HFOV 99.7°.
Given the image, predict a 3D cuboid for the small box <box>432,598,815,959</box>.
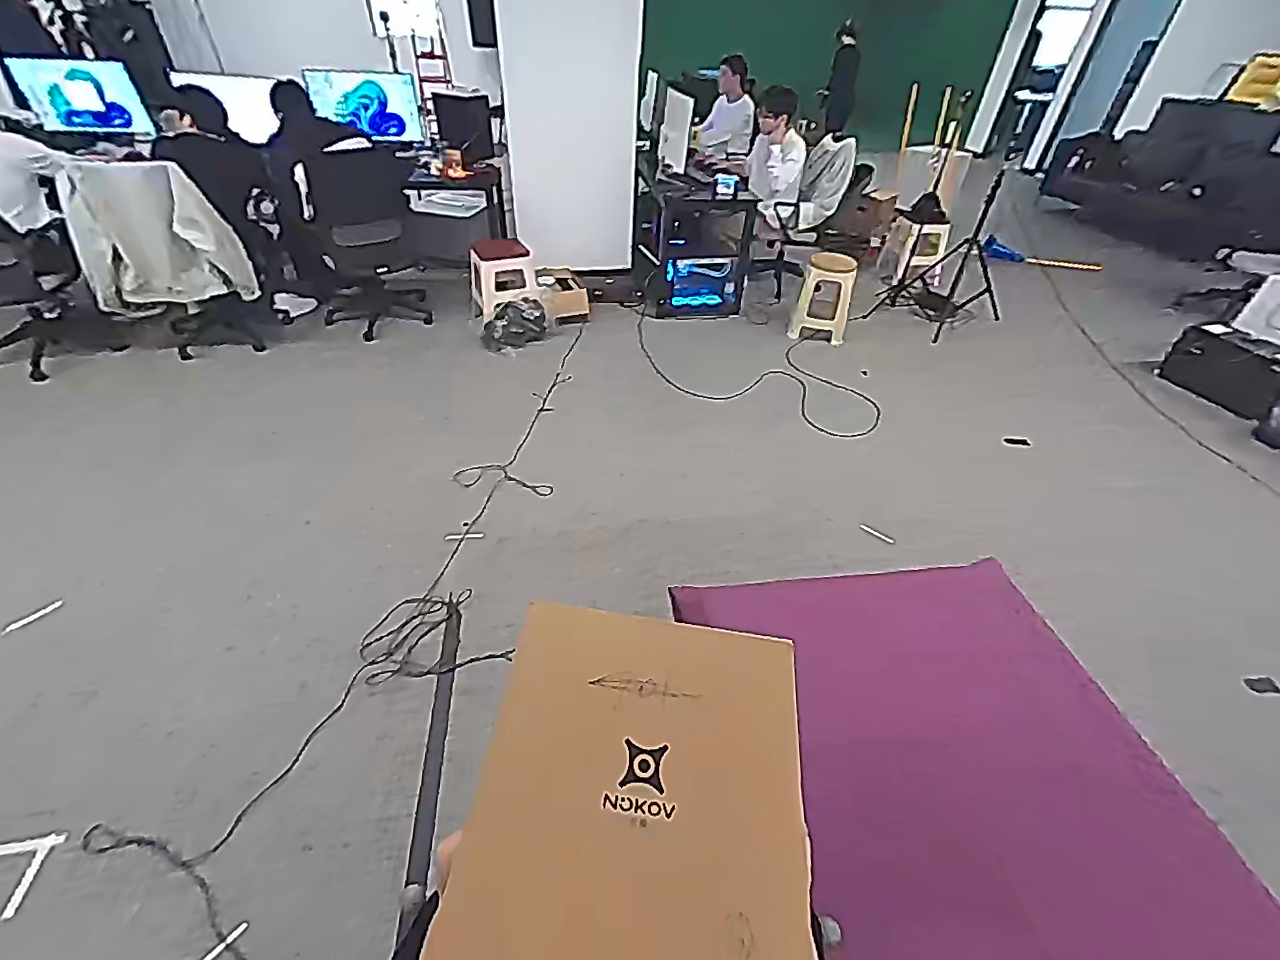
[{"bbox_3d":[-0.004,0.201,0.336,0.168,0.176,0.179,9,47,0],"label":"small box"}]
